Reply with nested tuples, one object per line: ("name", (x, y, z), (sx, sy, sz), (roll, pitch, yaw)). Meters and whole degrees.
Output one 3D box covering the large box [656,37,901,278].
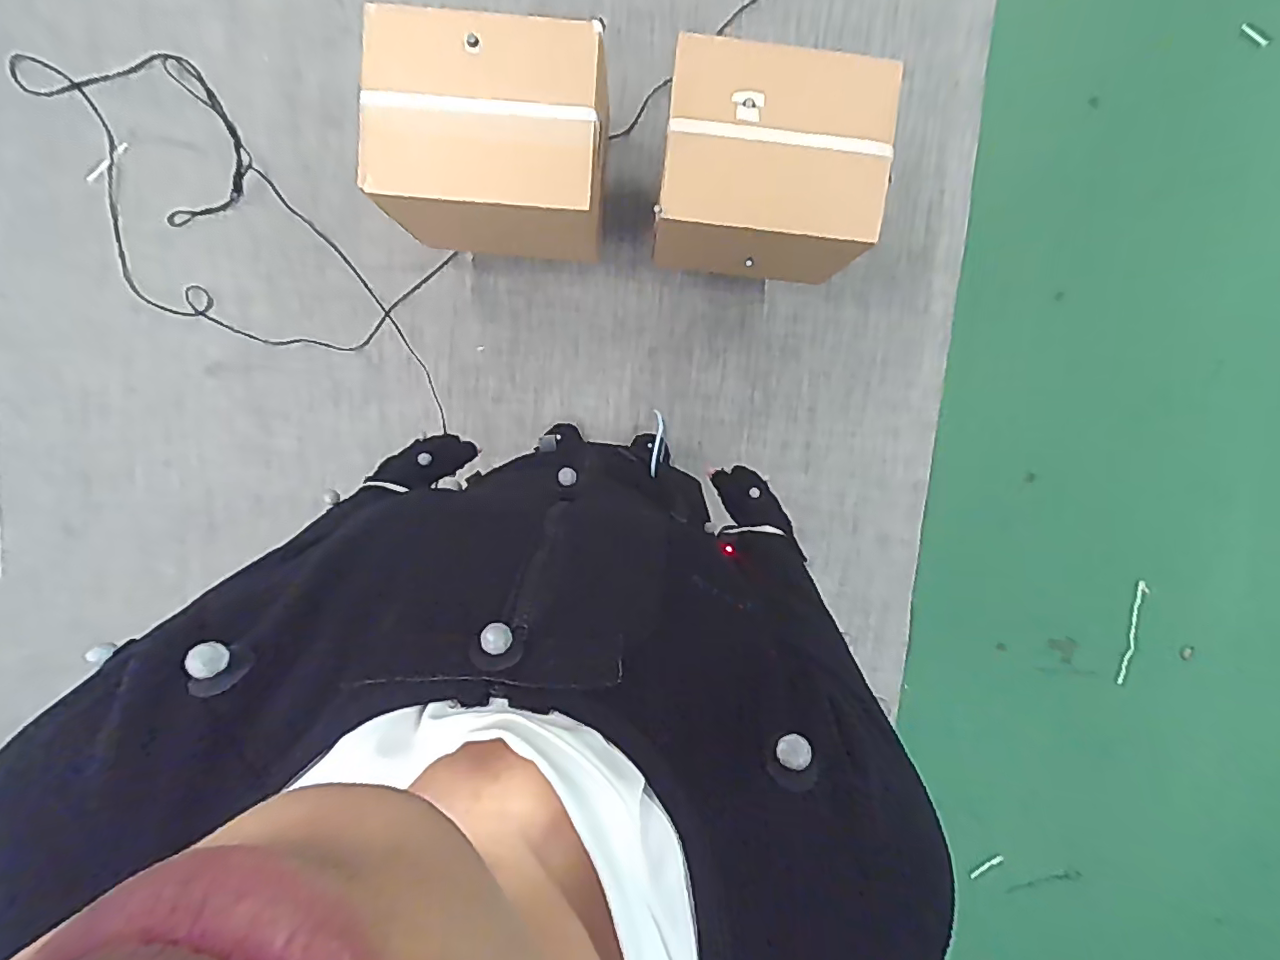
("large box", (0.253, -0.628, 1.119), (0.408, 0.320, 0.320), (7, 96, -2))
